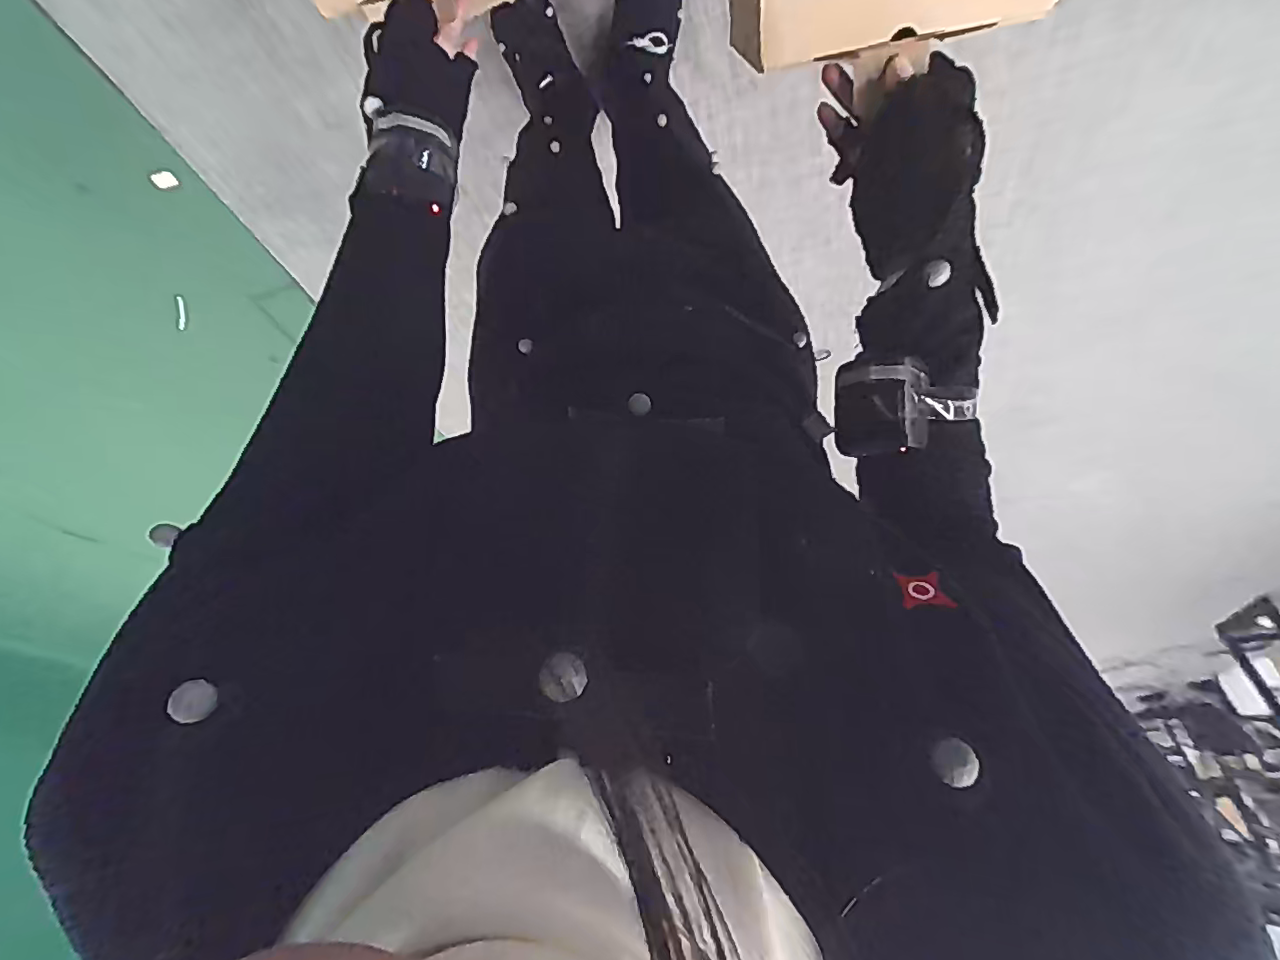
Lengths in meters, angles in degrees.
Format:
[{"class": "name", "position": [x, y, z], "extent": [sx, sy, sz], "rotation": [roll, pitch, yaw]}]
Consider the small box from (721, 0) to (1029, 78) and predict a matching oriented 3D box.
[{"class": "small box", "position": [0.132, -0.375, 0.323], "extent": [0.168, 0.176, 0.179], "rotation": [-6, 134, 8]}]
